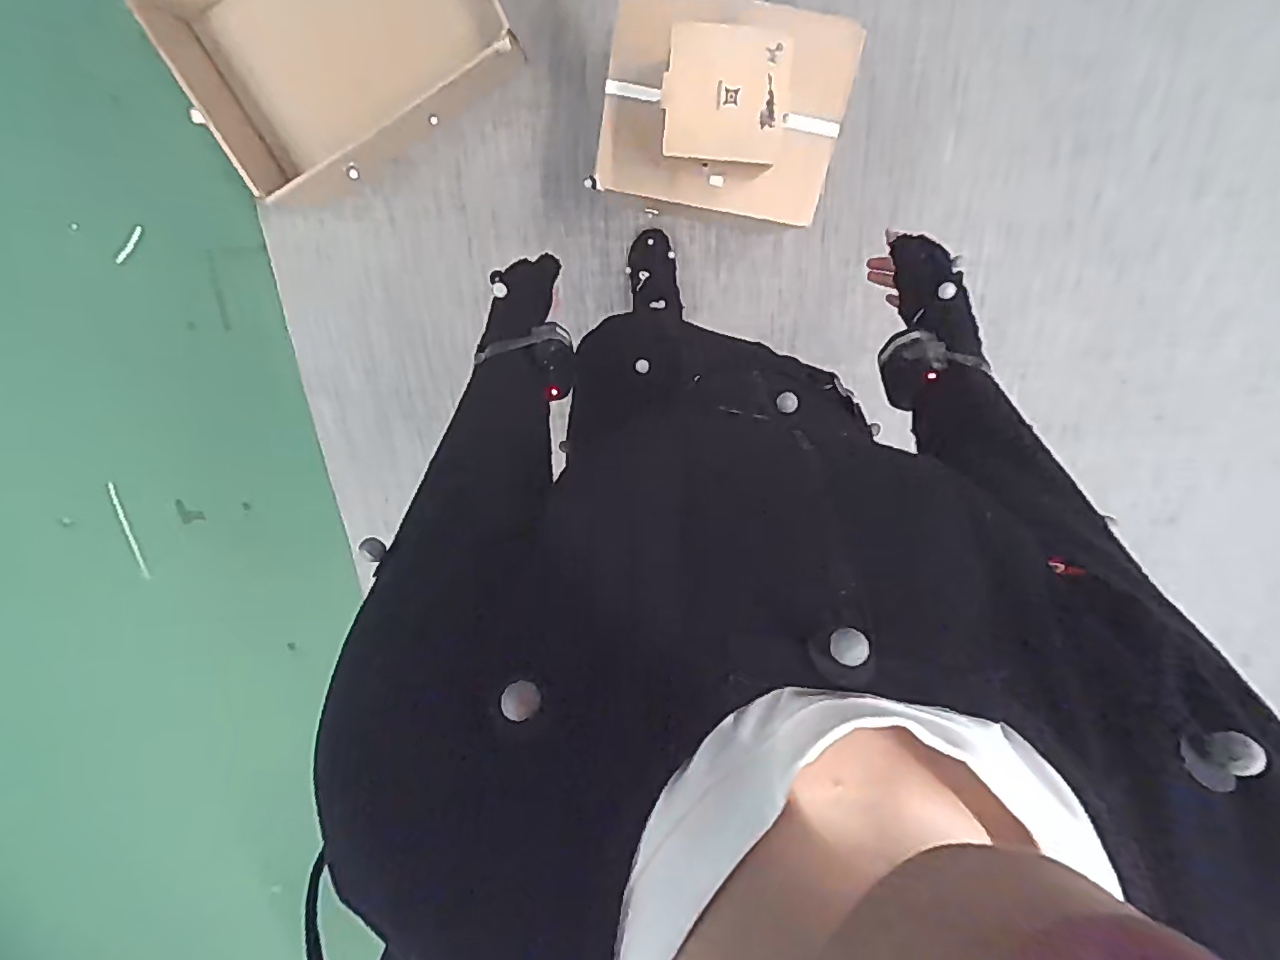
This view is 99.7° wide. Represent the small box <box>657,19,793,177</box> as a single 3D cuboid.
[{"bbox_3d":[0.123,-0.585,0.850,0.179,0.176,0.168,5,113,1],"label":"small box"}]
